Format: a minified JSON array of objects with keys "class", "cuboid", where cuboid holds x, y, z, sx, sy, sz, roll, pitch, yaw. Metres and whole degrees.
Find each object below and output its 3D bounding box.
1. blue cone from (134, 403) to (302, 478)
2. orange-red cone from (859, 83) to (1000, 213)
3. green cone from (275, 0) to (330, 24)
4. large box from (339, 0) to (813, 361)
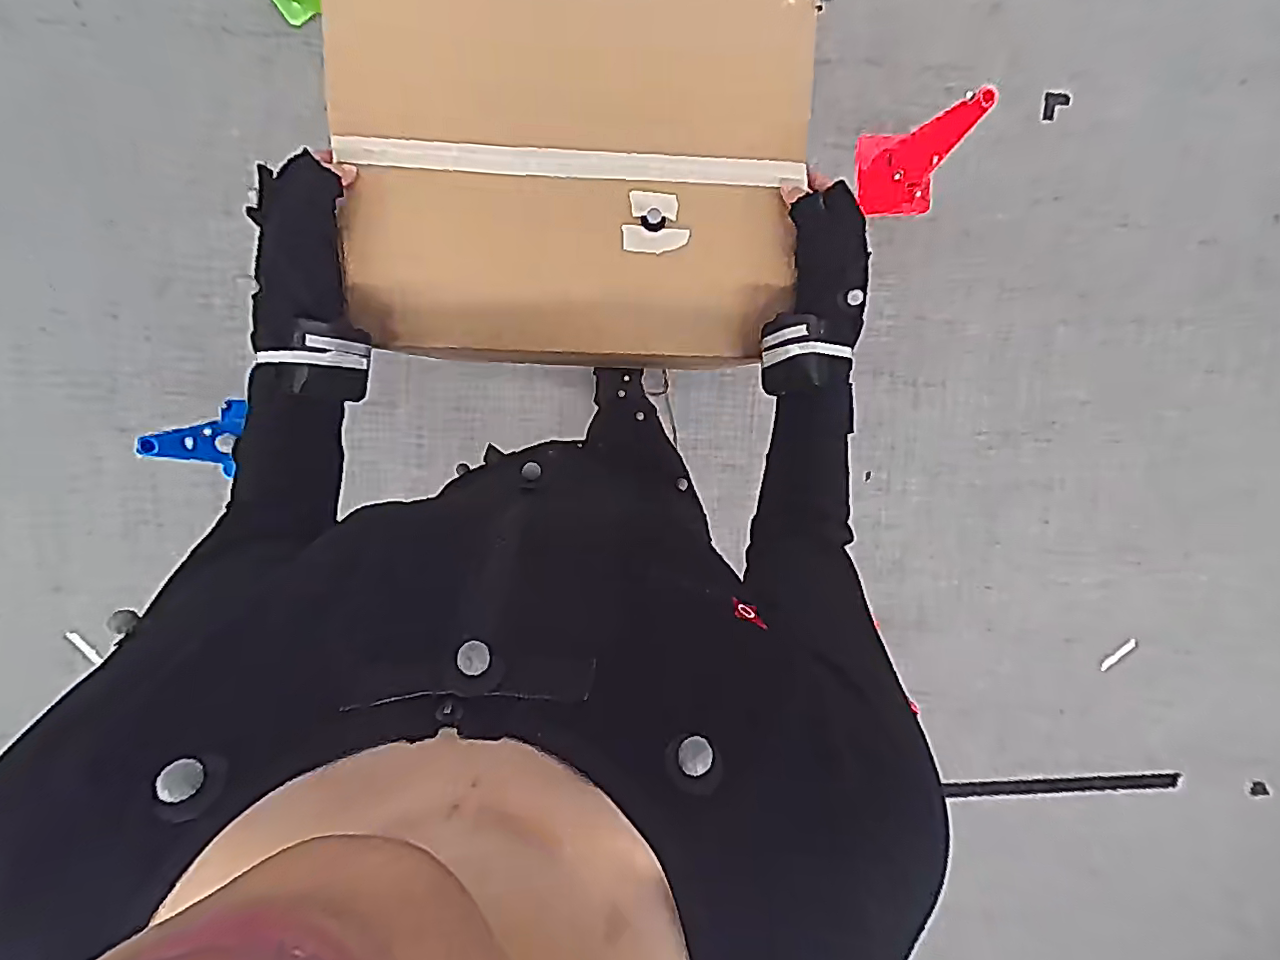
[{"class":"blue cone","cuboid":[-0.961,-0.083,1.232,0.192,0.380,0.193,4,96,-3]},{"class":"orange-red cone","cuboid":[0.683,-0.789,1.247,0.198,0.360,0.199,-2,95,-4]},{"class":"green cone","cuboid":[-0.793,-1.194,1.101,0.202,0.368,0.200,-37,97,2]},{"class":"large box","cuboid":[-0.064,-0.304,0.619,0.408,0.320,0.320,1,100,-5]}]
